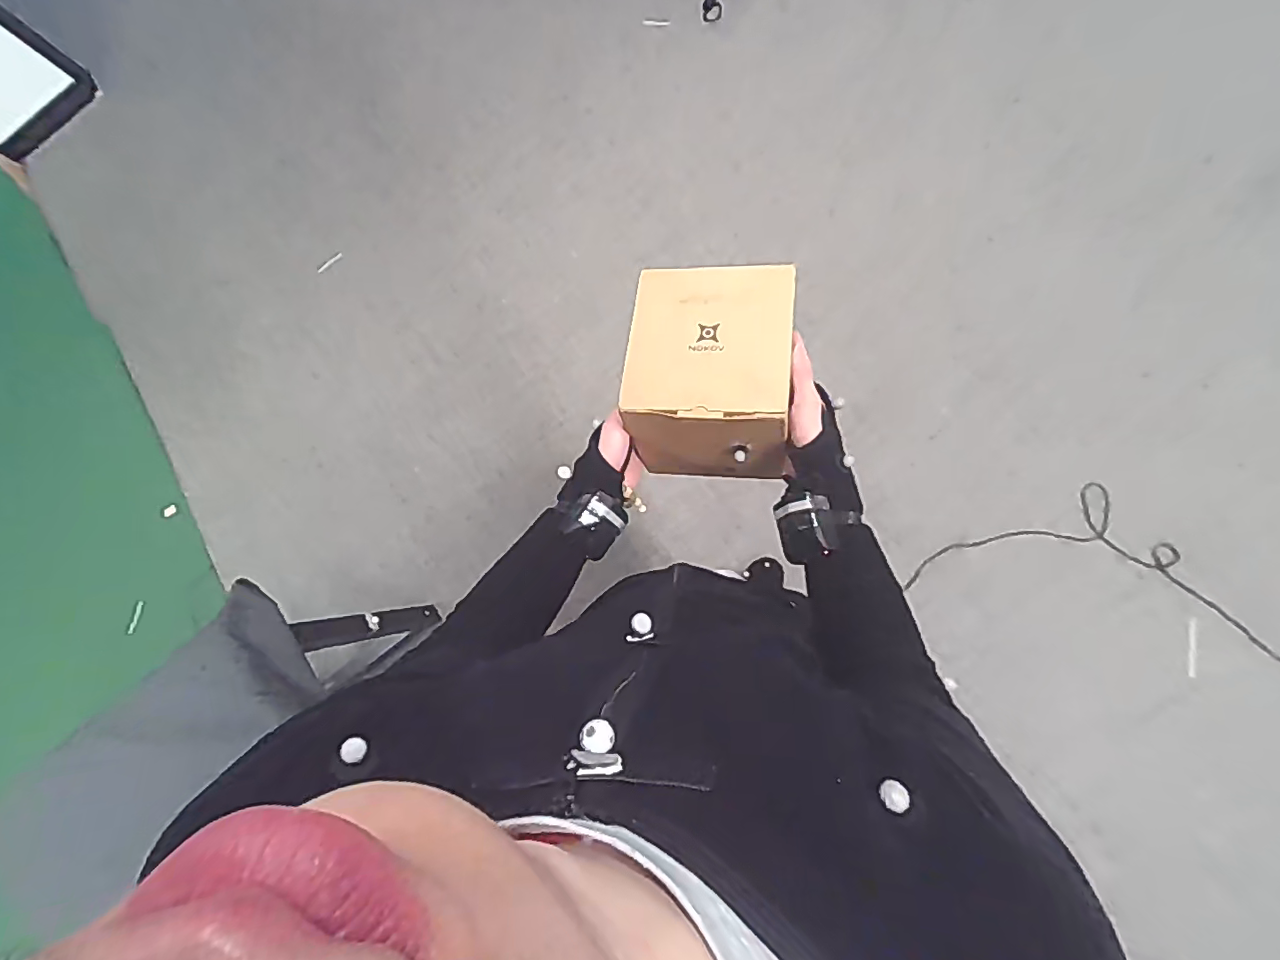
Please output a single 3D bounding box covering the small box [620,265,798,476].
[{"bbox_3d":[0.086,-0.115,0.615,0.168,0.176,0.179,4,68,12],"label":"small box"}]
